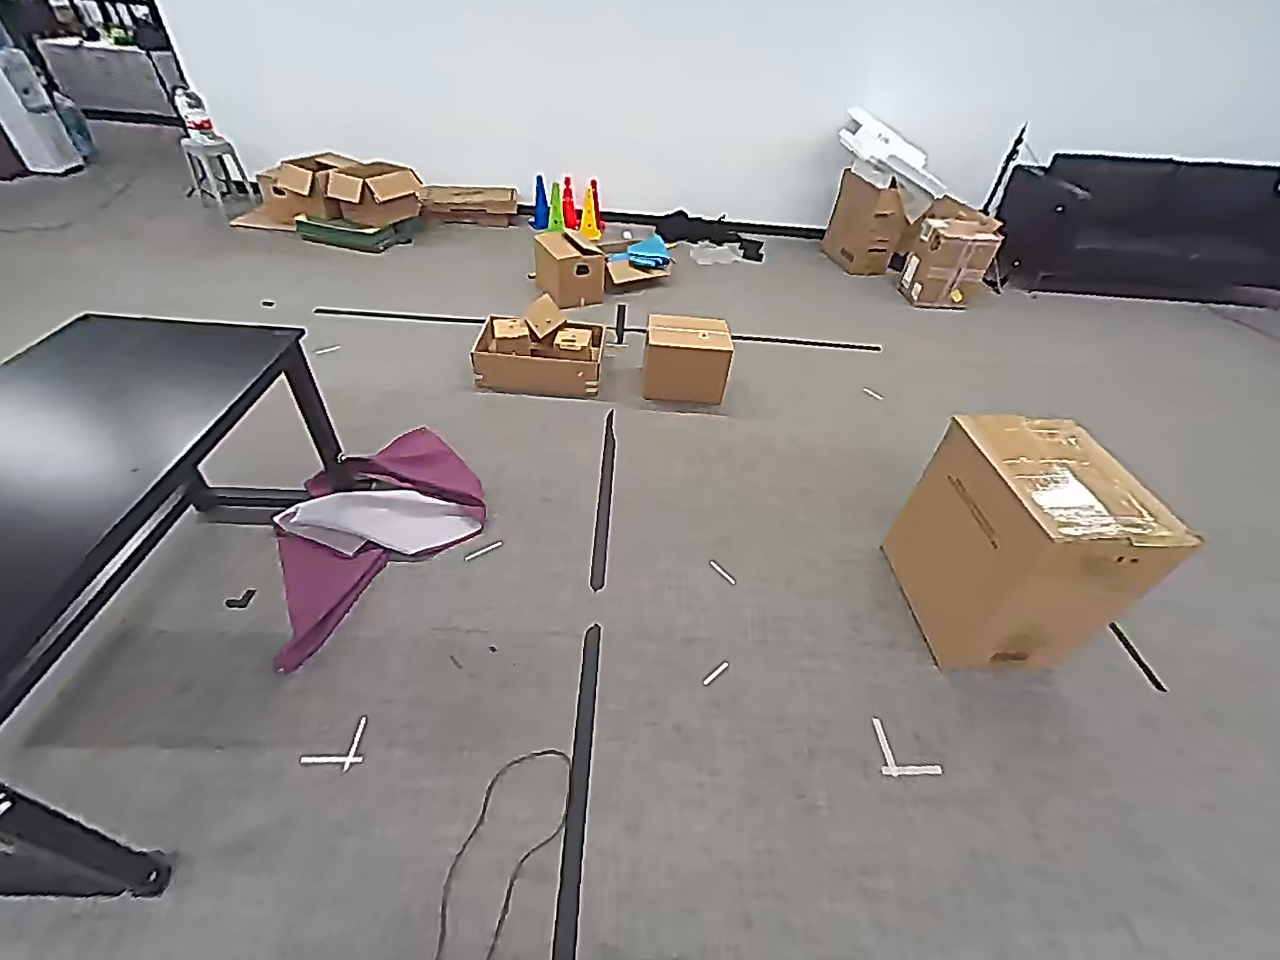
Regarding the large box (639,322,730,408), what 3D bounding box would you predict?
[{"bbox_3d":[0.213,-0.582,2.750,0.408,0.320,0.320,4,43,-5],"label":"large box"}]
